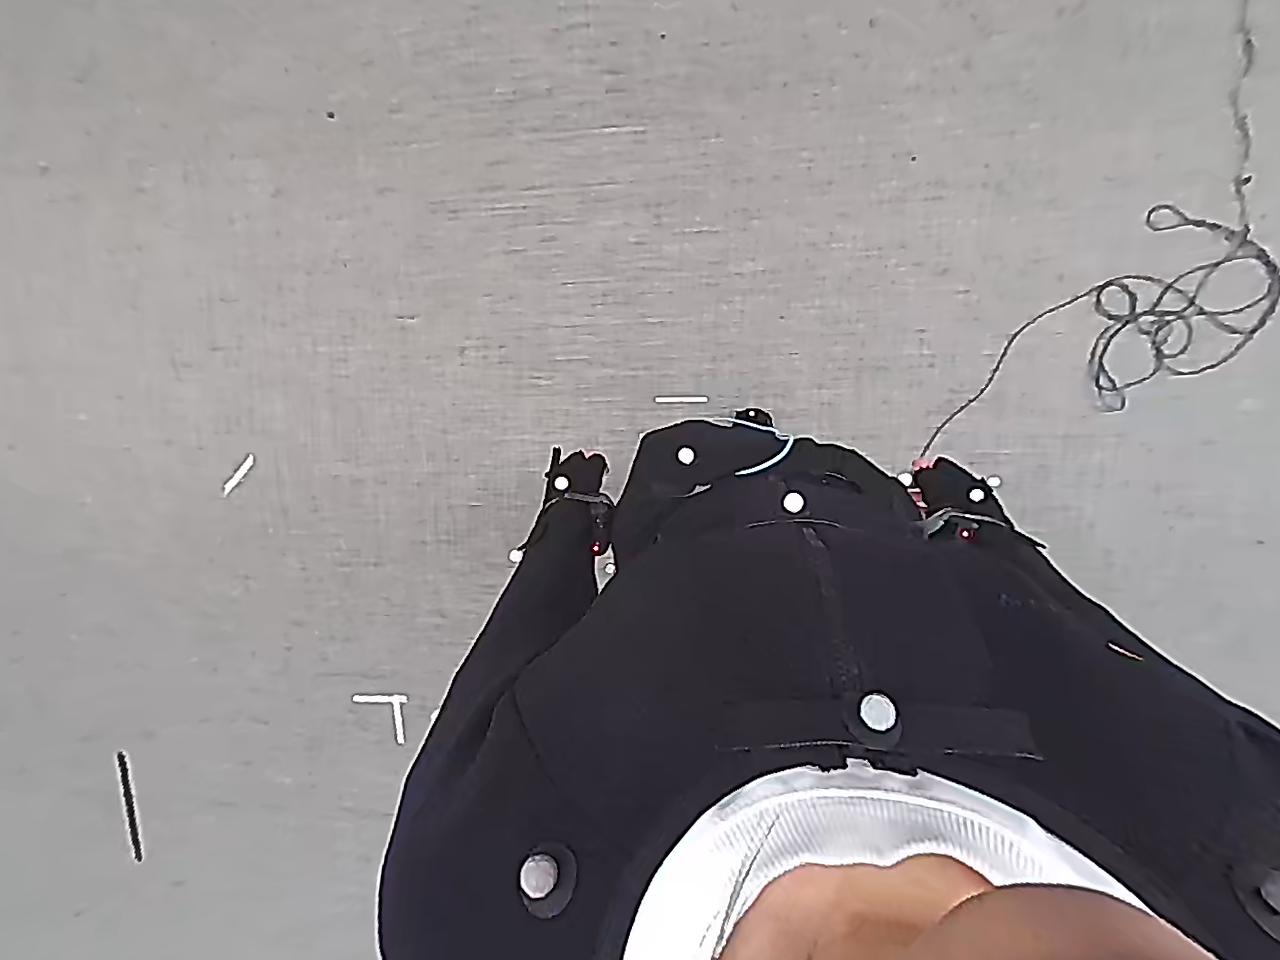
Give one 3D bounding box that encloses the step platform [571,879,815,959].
[{"bbox_3d":[0.146,1.360,1.537,0.684,0.204,0.286,-1,97,8],"label":"step platform"}]
